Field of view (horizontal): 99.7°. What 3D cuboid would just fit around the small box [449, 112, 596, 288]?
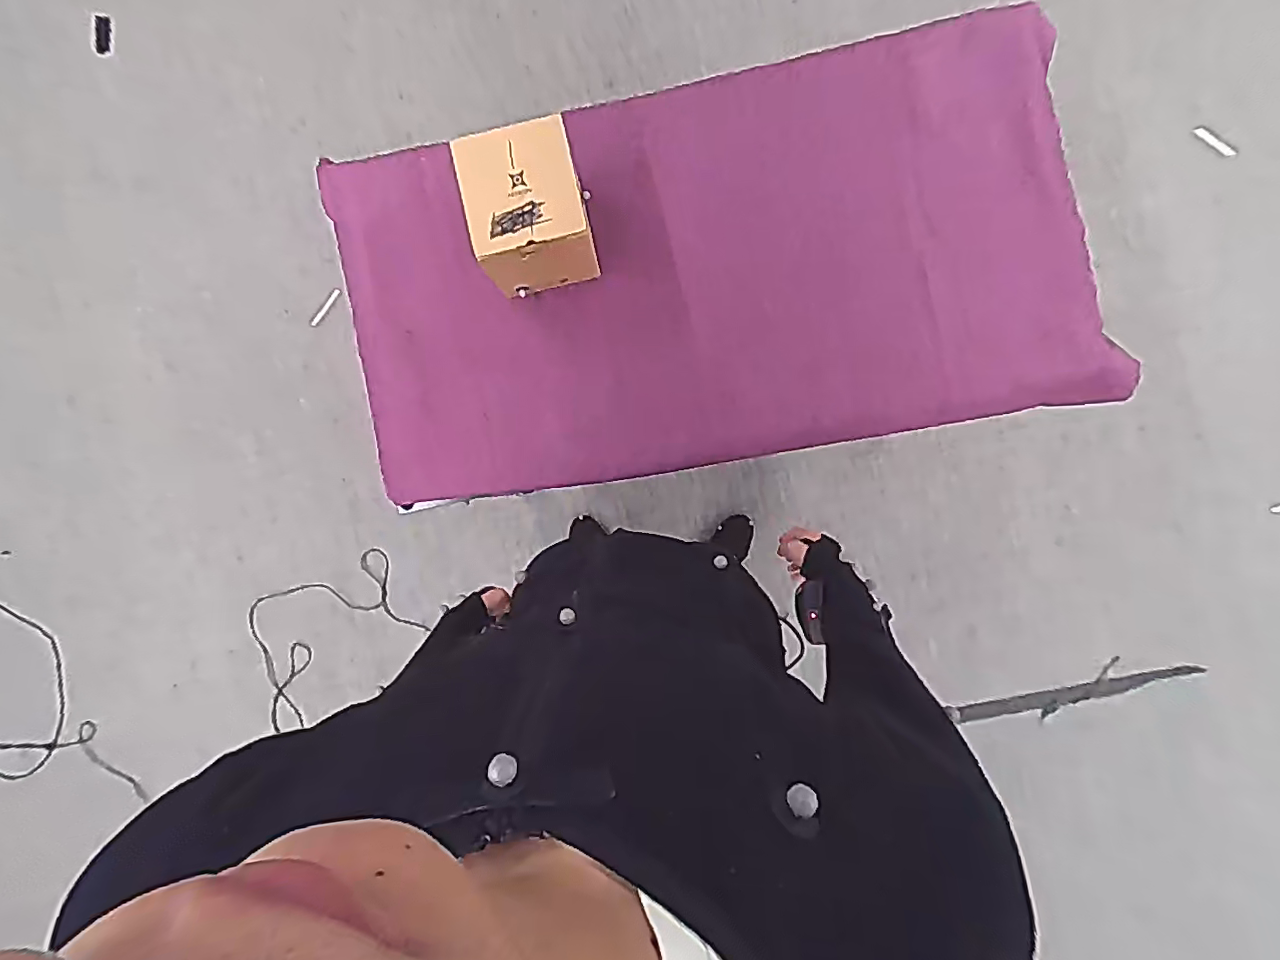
[{"bbox_3d":[-0.171,-0.417,0.840,0.168,0.176,0.179,-13,89,2],"label":"small box"}]
